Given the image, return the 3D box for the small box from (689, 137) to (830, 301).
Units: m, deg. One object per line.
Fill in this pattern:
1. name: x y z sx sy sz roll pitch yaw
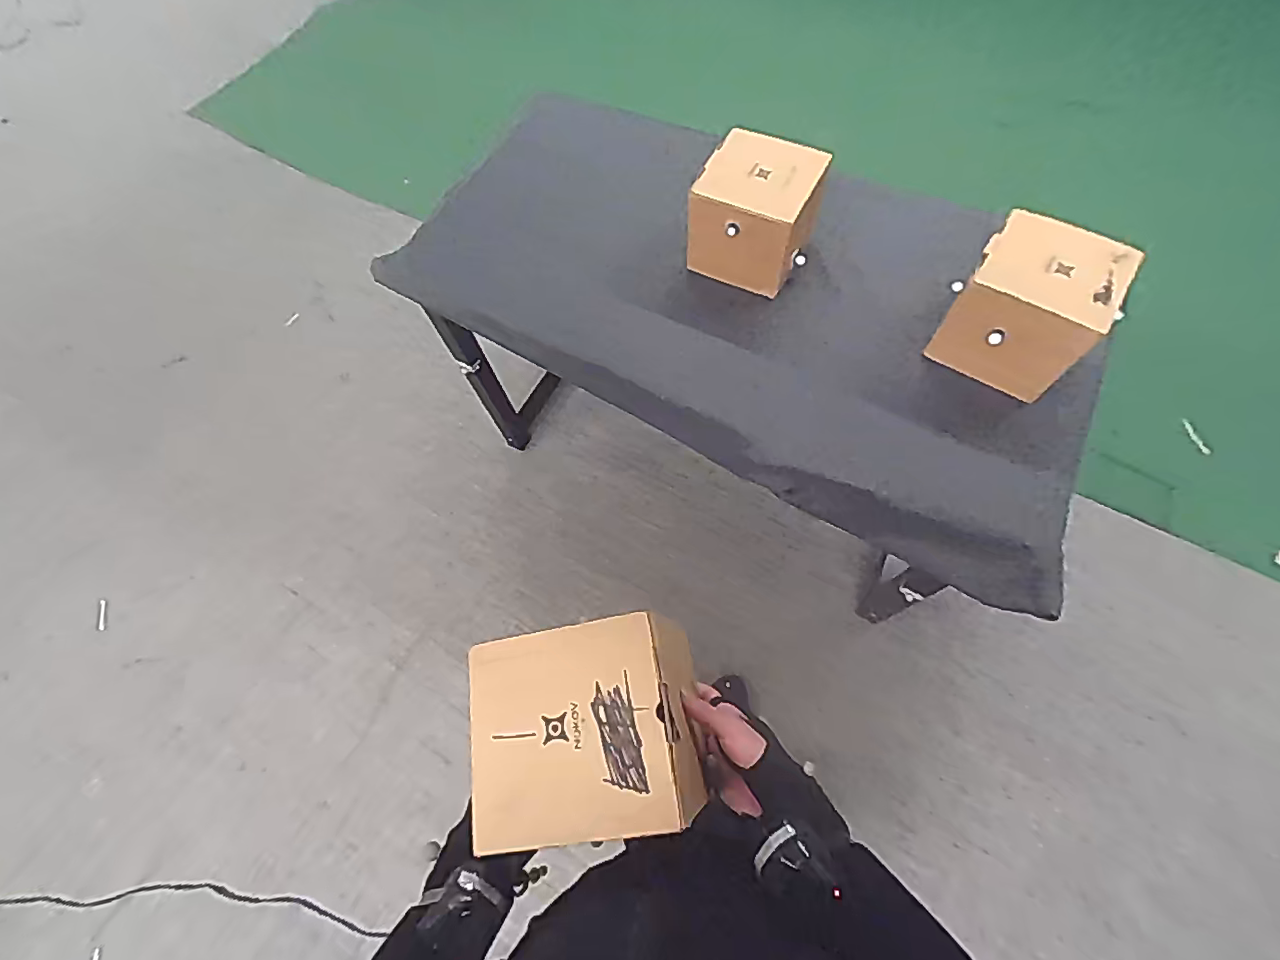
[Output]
1. small box: 0.195 -0.440 0.928 0.179 0.176 0.168 26 72 13

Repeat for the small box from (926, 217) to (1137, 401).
1. small box: 0.567 -0.247 0.809 0.179 0.176 0.168 32 72 17
